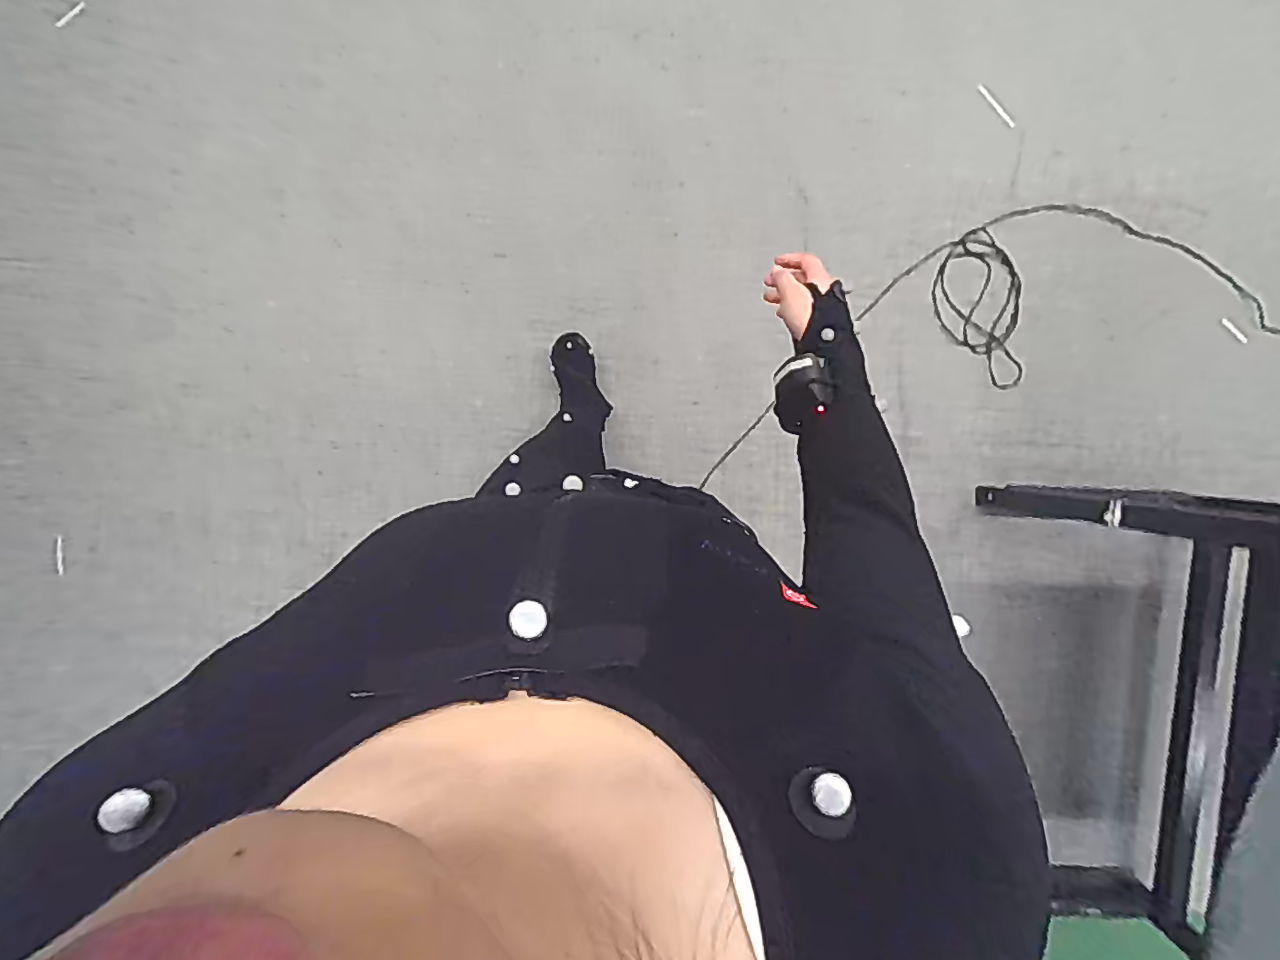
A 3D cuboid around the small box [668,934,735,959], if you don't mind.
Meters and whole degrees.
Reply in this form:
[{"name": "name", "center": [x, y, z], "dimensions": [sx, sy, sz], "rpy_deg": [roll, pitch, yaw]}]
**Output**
[{"name": "small box", "center": [0.184, 1.405, 1.480], "dimensions": [0.168, 0.176, 0.179], "rpy_deg": [-40, 94, 3]}]
